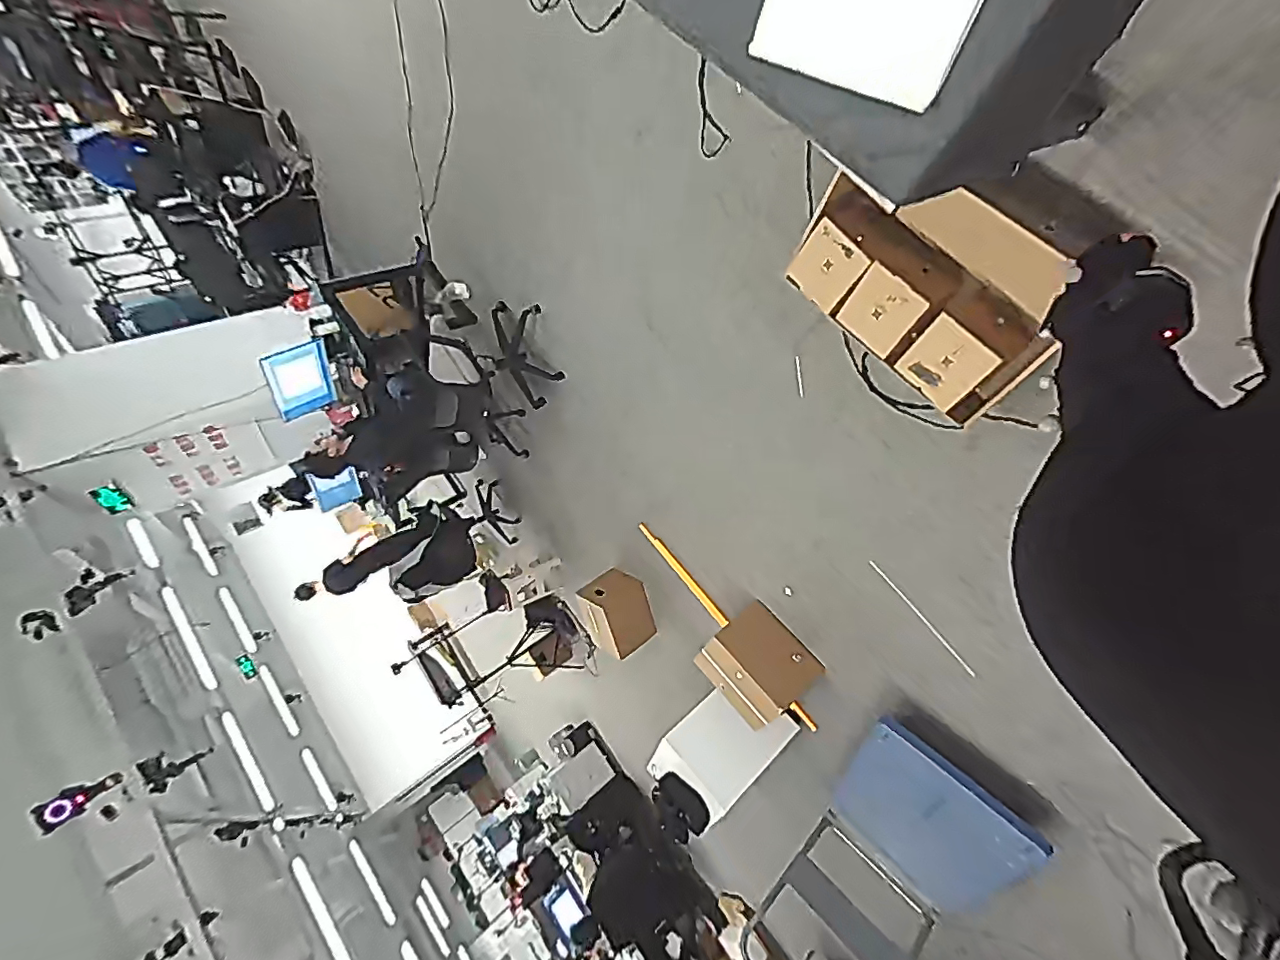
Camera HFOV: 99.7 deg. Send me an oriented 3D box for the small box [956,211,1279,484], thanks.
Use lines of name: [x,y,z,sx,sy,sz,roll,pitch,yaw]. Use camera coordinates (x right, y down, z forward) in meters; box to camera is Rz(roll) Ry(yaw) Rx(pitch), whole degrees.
small box: [0.439,-0.117,0.525,0.176,0.179,0.168,-44,75,32]
